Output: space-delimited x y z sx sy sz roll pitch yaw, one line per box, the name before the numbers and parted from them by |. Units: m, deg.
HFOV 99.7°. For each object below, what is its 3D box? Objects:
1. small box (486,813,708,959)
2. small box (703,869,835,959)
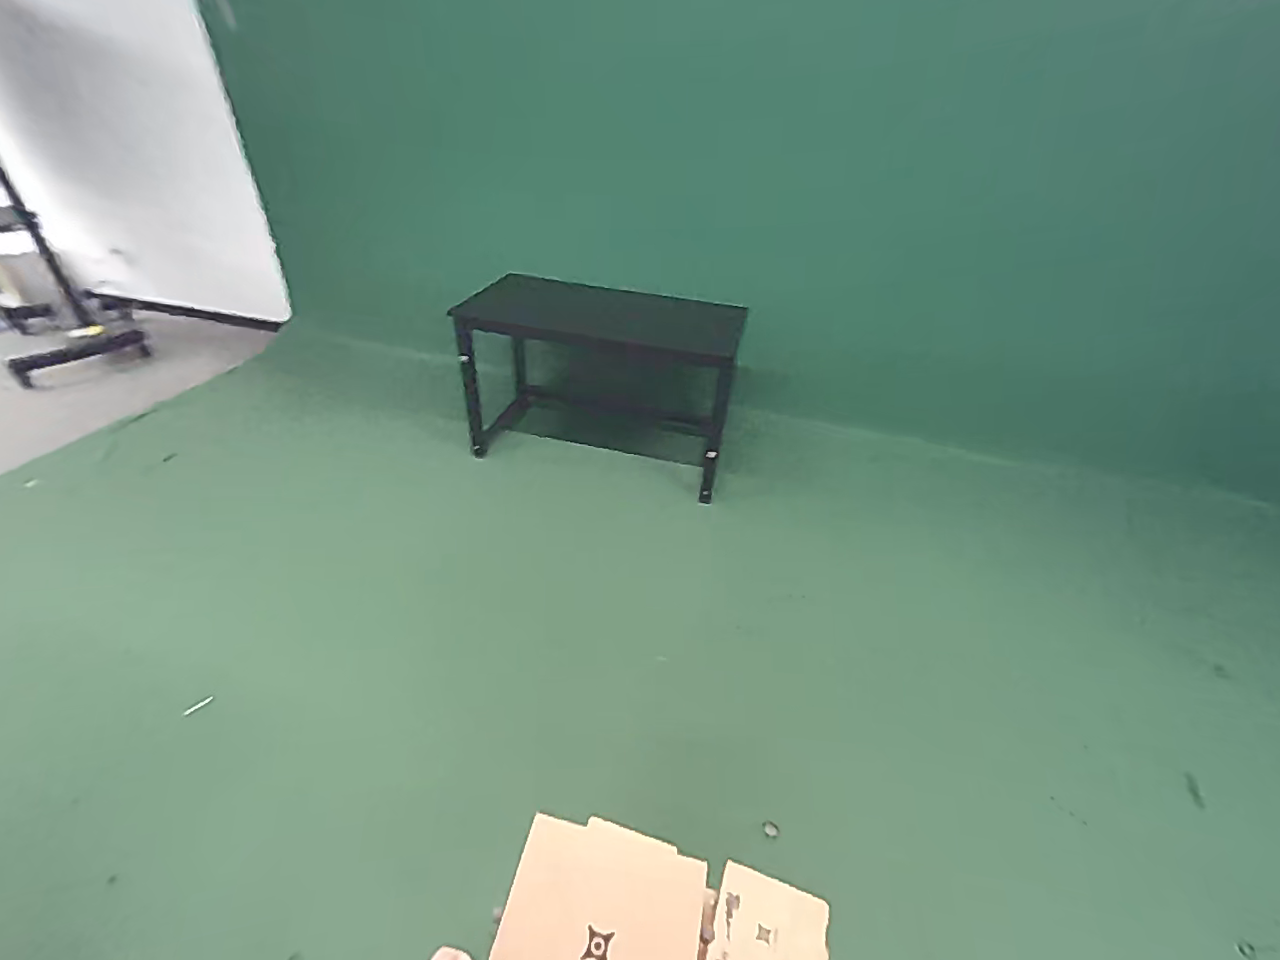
small box | -0.044 0.437 0.483 0.168 0.176 0.179 12 46 7
small box | 0.199 0.786 0.878 0.179 0.176 0.168 15 36 16
